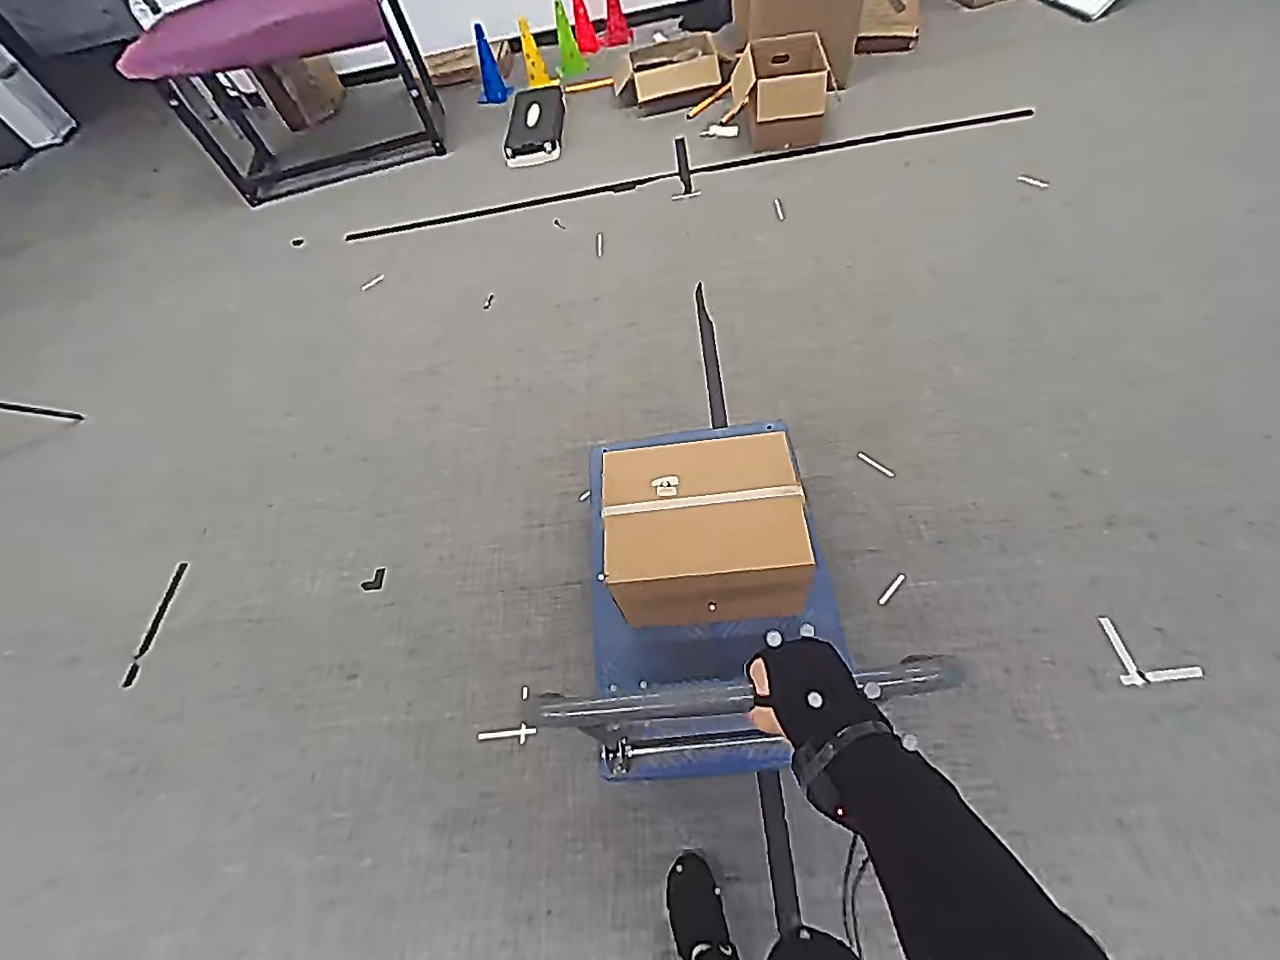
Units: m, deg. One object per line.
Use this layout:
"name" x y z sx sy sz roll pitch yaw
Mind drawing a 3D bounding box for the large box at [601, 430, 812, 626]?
"large box" 0.143 0.123 1.230 0.408 0.320 0.320 -8 57 7
